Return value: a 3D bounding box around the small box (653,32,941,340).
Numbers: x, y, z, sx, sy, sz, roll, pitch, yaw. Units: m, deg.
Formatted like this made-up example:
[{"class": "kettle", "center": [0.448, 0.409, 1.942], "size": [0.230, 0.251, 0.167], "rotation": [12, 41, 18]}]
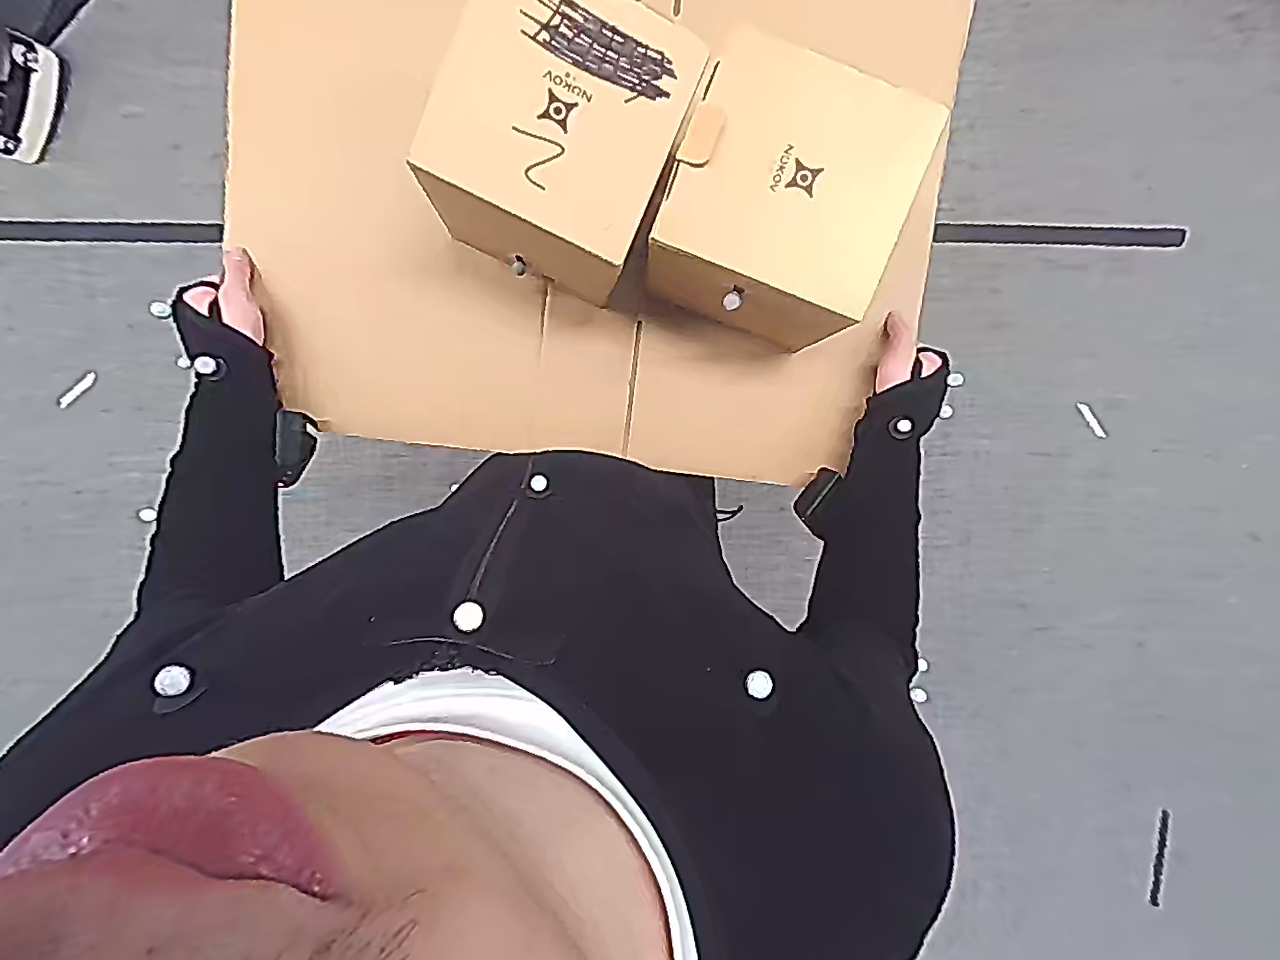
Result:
[{"class": "small box", "center": [0.120, -0.239, 0.493], "size": [0.179, 0.176, 0.168], "rotation": [21, 96, -1]}]
